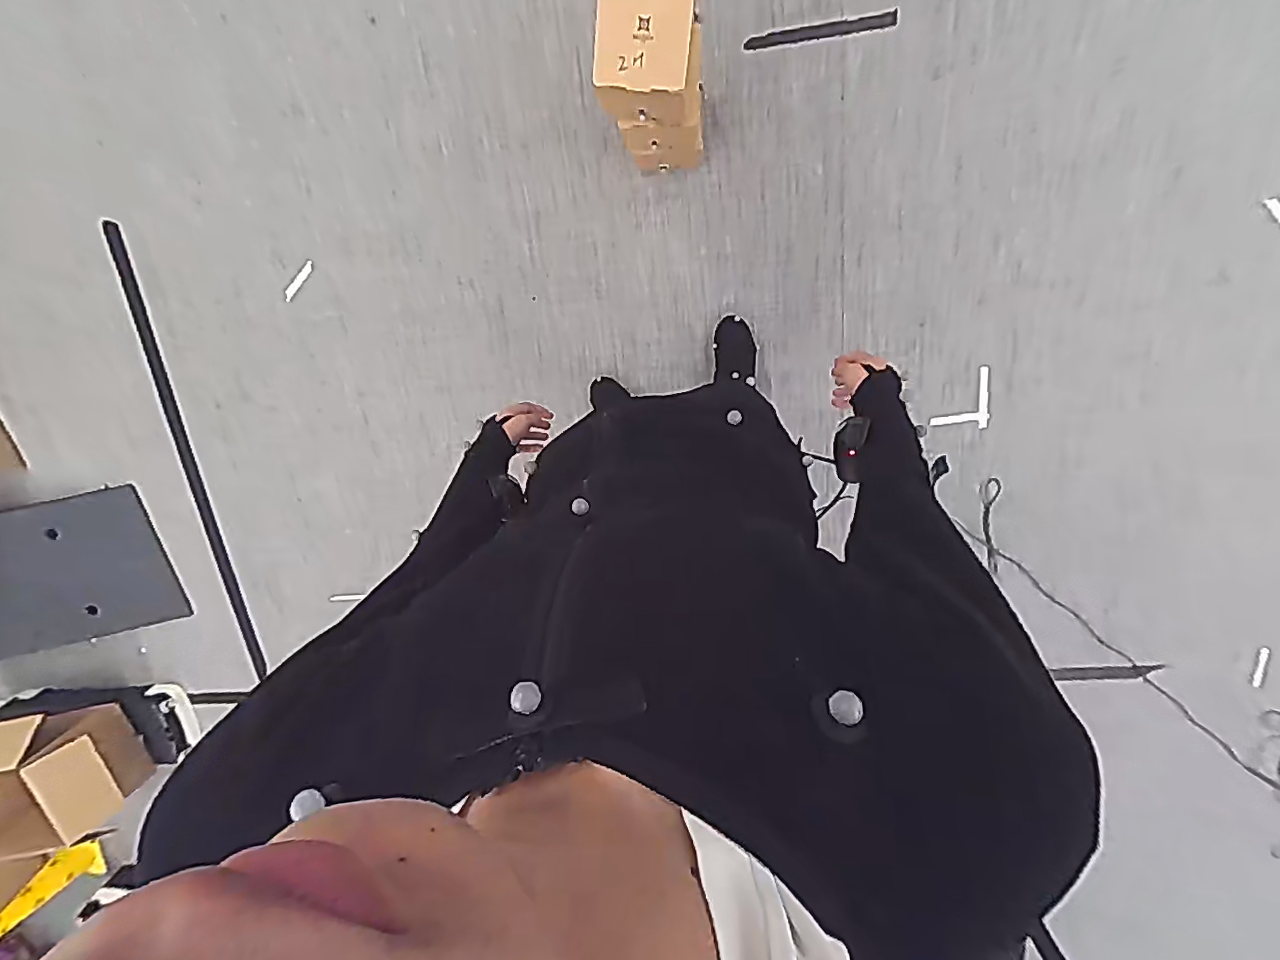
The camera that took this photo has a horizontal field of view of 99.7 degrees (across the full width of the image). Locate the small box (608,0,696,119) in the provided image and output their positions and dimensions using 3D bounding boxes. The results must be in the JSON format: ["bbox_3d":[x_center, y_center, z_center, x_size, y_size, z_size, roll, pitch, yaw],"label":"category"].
[{"bbox_3d":[0.026,-0.853,1.083,0.168,0.176,0.179,1,108,5],"label":"small box"}]

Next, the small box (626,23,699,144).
[{"bbox_3d":[0.048,-0.897,1.237,0.168,0.176,0.179,-2,107,5],"label":"small box"}]

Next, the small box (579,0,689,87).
[{"bbox_3d":[-0.003,-0.812,0.925,0.168,0.176,0.179,7,108,3],"label":"small box"}]
